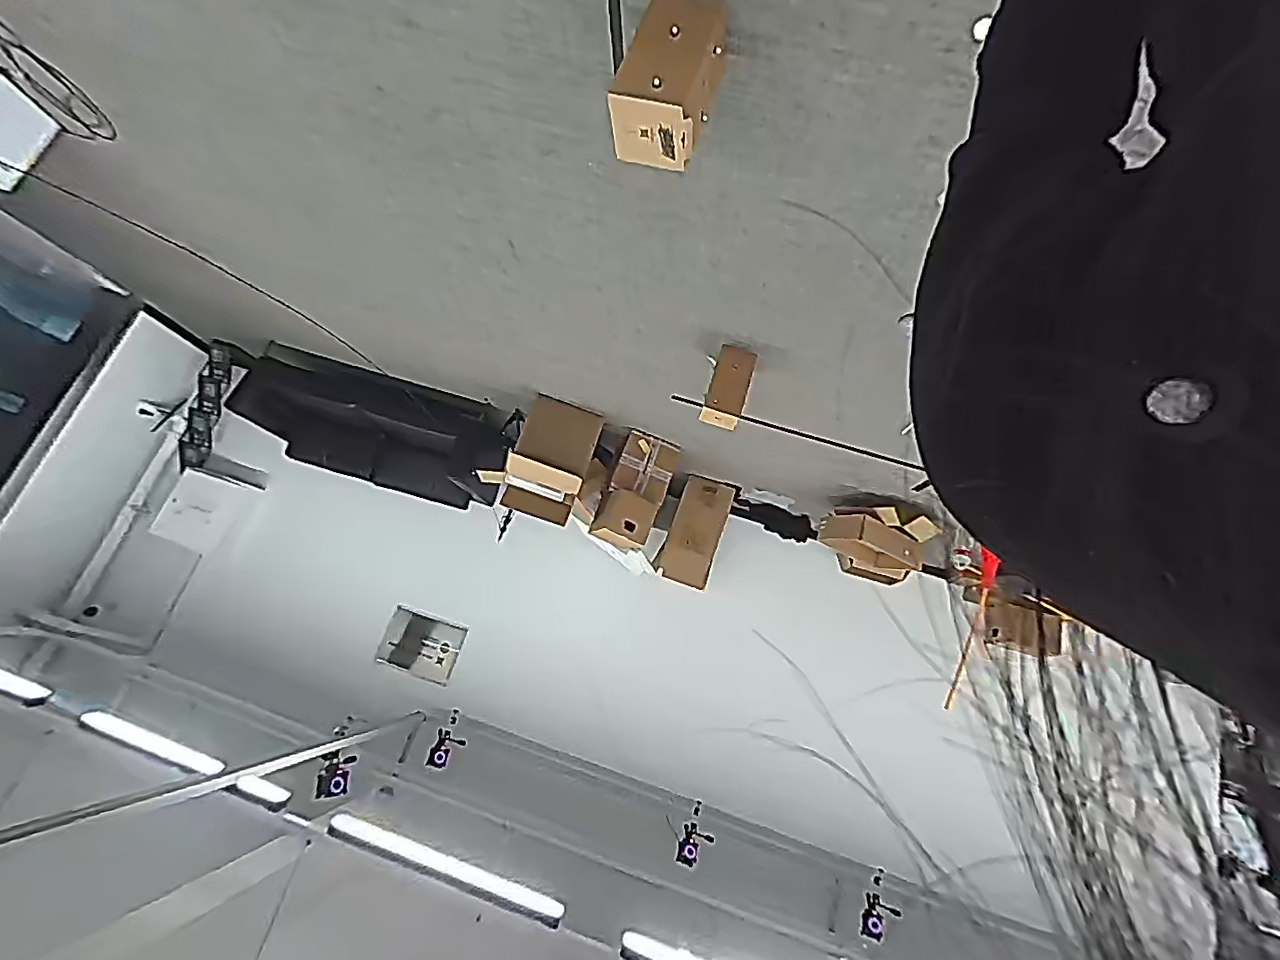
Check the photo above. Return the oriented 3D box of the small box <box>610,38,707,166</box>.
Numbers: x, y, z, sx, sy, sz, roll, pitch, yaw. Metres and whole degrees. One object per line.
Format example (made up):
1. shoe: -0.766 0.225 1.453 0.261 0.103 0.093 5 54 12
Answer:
1. small box: 0.049 -0.861 1.233 0.179 0.176 0.168 17 165 10

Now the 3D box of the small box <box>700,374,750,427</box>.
1. small box: 0.395 -0.375 2.523 0.179 0.176 0.168 17 166 3

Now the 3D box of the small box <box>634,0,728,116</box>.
1. small box: 0.101 -1.010 1.281 0.179 0.176 0.168 17 164 11
